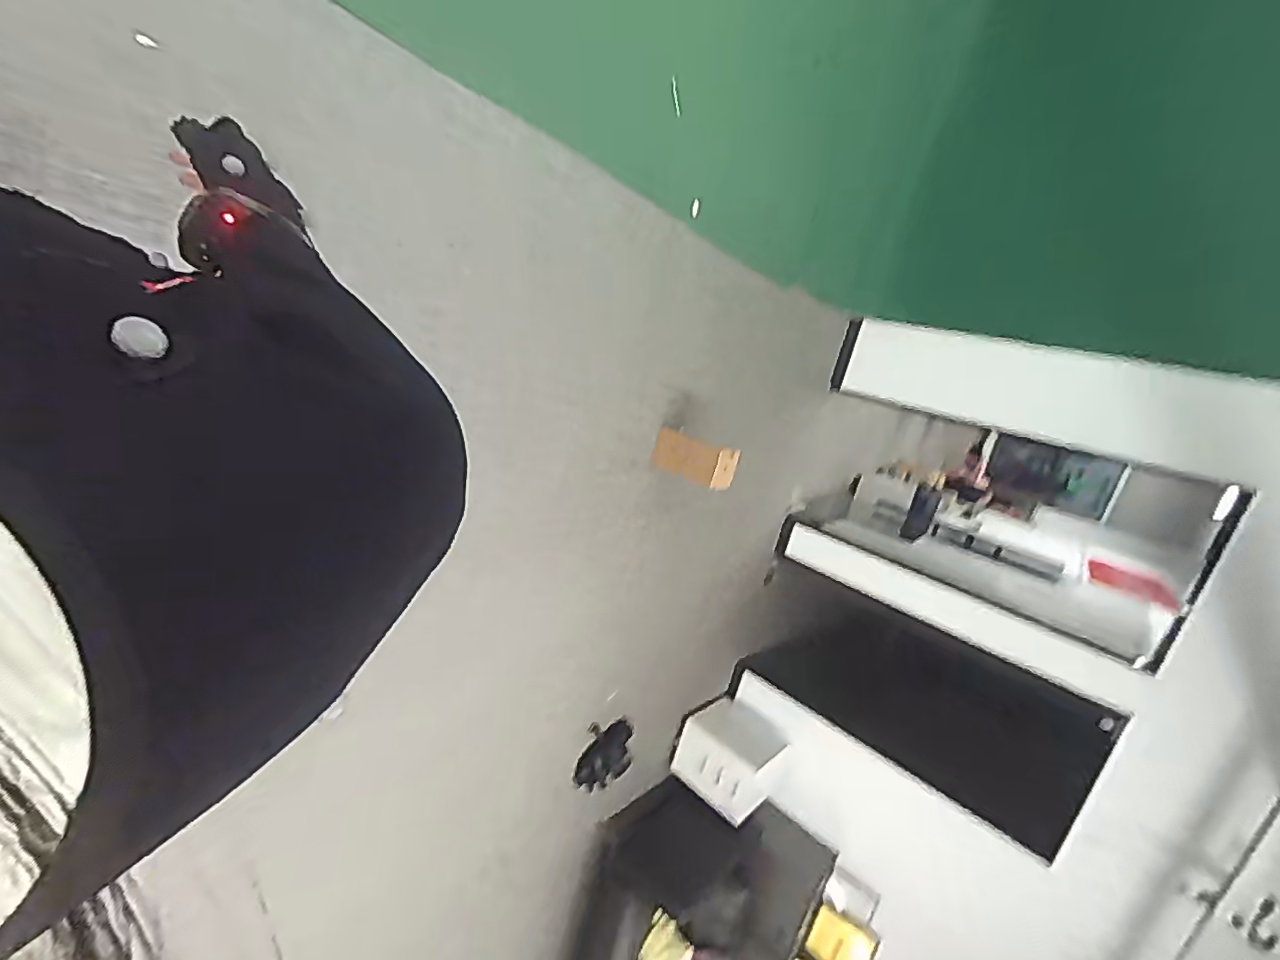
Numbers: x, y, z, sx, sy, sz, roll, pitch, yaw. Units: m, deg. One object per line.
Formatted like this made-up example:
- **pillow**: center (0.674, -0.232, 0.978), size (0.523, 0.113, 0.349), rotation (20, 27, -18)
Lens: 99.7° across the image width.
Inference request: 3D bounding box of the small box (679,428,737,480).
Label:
- **small box**: center (0.291, -0.111, 2.354), size (0.168, 0.176, 0.179), rotation (3, 108, -52)

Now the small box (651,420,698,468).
- **small box**: center (0.170, -0.163, 2.450), size (0.168, 0.176, 0.179), rotation (-3, 112, -50)
